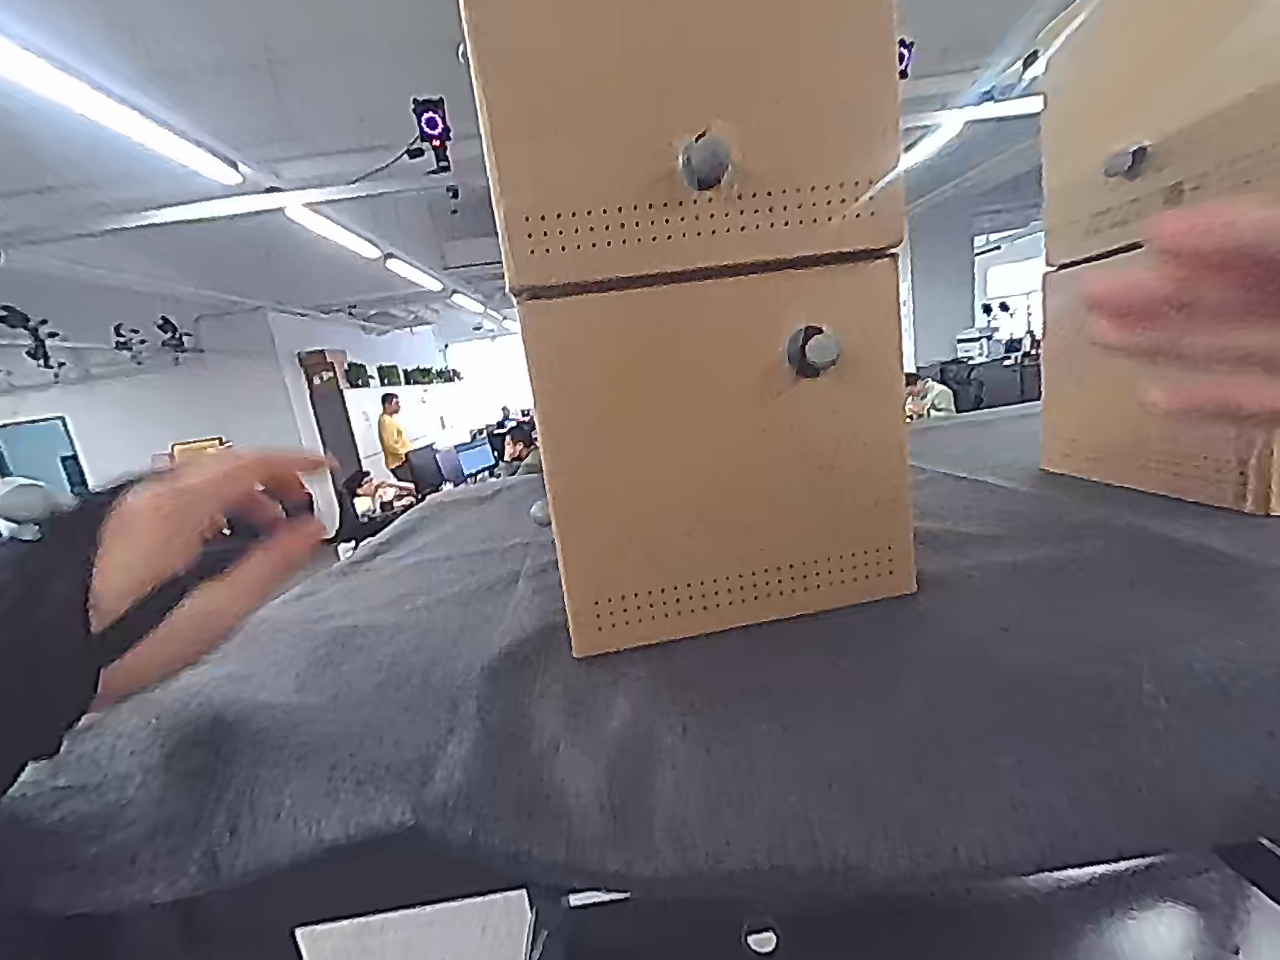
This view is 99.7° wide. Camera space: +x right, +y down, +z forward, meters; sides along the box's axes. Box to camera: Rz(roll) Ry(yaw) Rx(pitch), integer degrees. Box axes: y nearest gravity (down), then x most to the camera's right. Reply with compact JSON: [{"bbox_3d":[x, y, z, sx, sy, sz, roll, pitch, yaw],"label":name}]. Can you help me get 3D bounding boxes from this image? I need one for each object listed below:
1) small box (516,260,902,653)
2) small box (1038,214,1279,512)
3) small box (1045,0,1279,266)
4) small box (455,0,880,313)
[{"bbox_3d":[0.034,-0.019,0.328,0.179,0.176,0.168,-10,9,-6],"label":"small box"},{"bbox_3d":[0.411,-0.080,0.361,0.168,0.176,0.179,-8,10,2],"label":"small box"},{"bbox_3d":[0.386,-0.238,0.323,0.179,0.176,0.168,-10,9,2],"label":"small box"},{"bbox_3d":[0.011,-0.178,0.294,0.179,0.176,0.168,-8,9,-4],"label":"small box"}]
